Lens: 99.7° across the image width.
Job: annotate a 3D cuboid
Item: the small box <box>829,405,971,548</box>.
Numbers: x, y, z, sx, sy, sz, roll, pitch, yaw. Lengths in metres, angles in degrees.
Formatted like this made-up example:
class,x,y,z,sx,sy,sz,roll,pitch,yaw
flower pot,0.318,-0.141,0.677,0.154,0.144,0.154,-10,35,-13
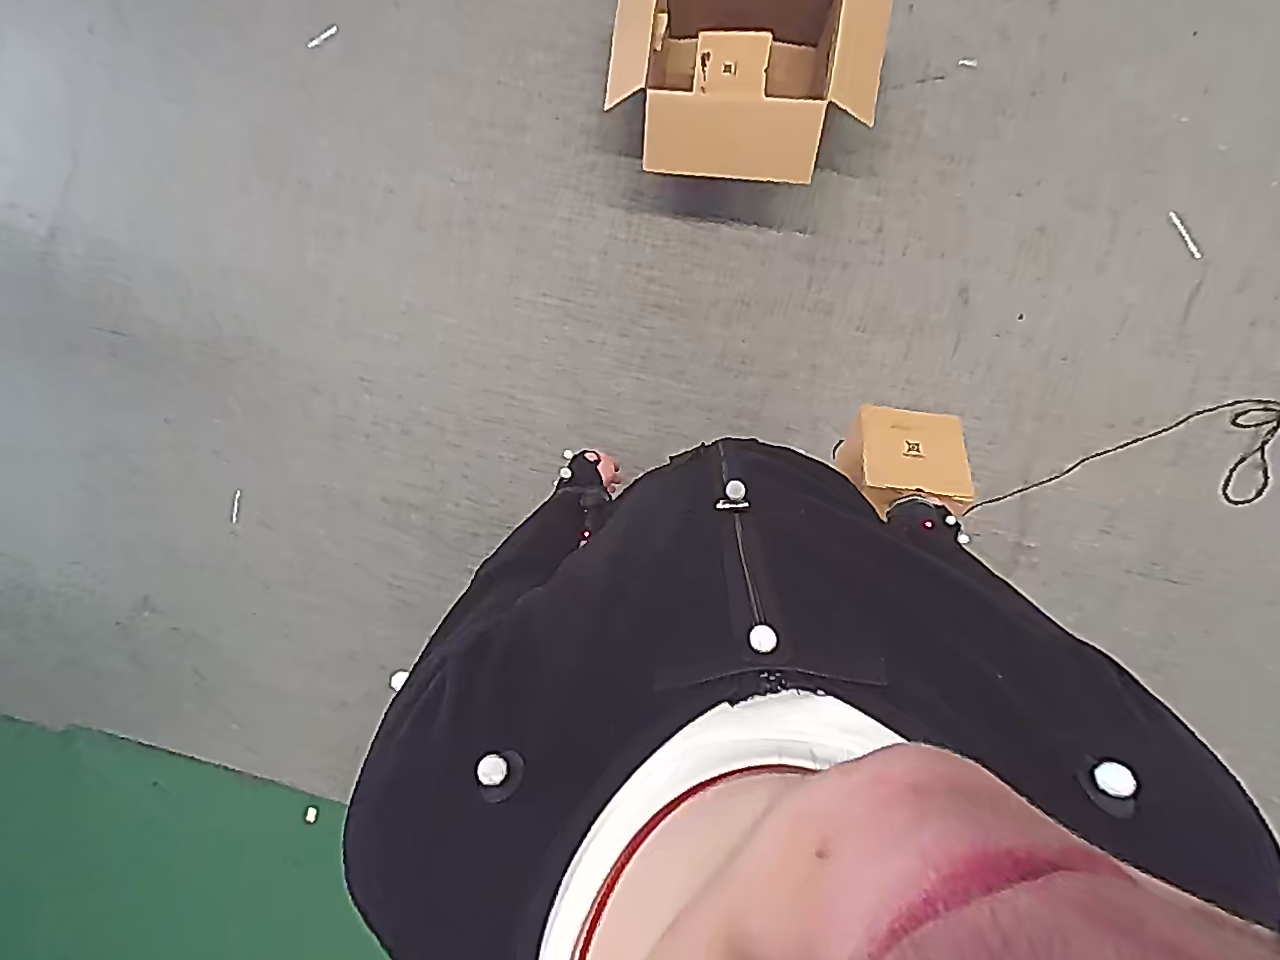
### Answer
class,x,y,z,sx,sy,sz,roll,pitch,yaw
small box,0.434,-0.002,0.934,0.168,0.176,0.179,9,52,6
